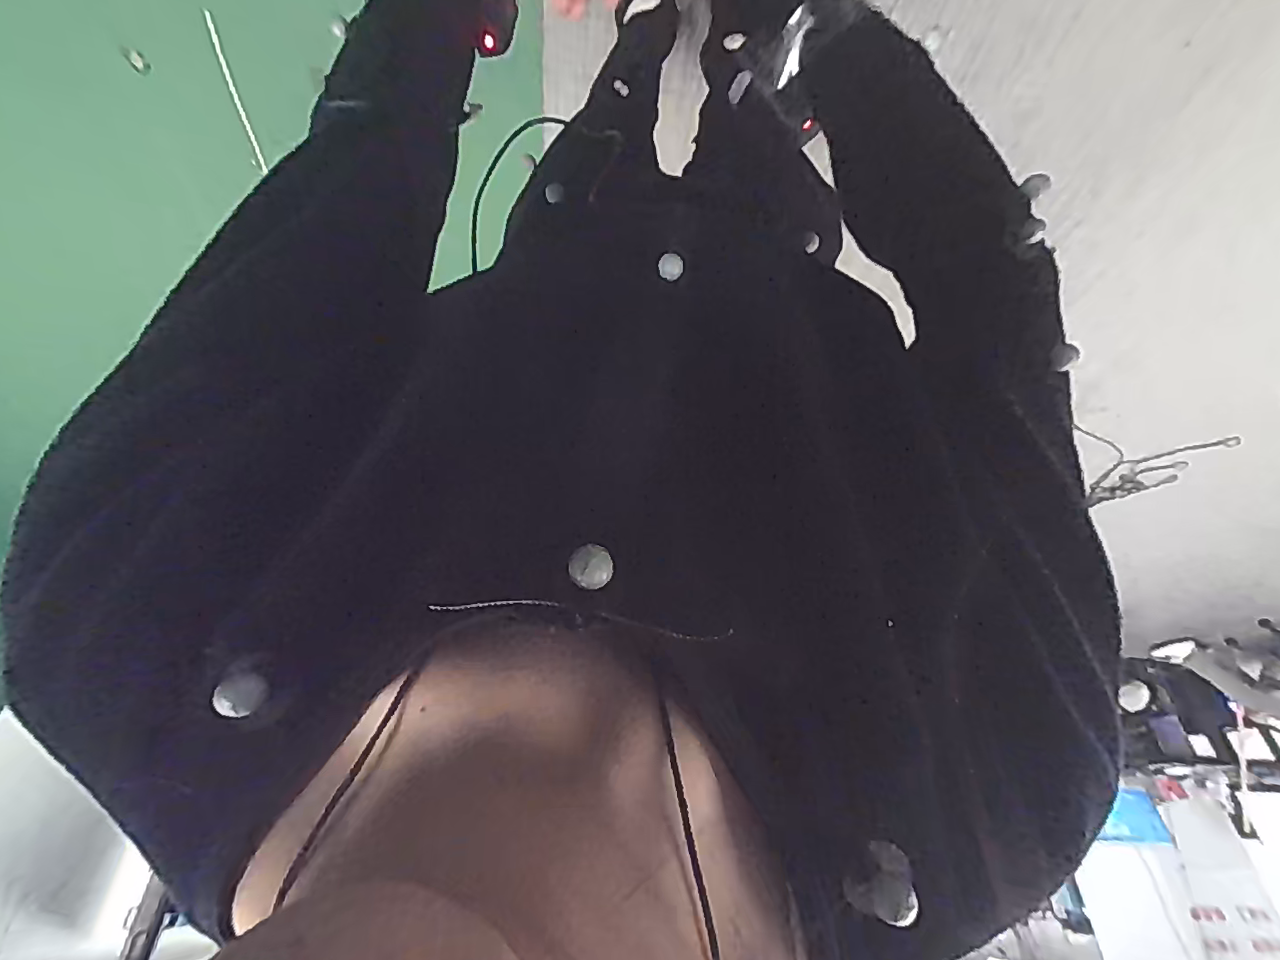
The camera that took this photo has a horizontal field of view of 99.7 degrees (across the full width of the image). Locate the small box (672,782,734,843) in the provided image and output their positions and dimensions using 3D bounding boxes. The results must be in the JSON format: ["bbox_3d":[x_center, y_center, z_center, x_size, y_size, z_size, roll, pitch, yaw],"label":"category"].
[{"bbox_3d":[0.214,1.161,1.890,0.179,0.176,0.168,8,144,-8],"label":"small box"}]

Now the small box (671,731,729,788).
[{"bbox_3d":[0.214,1.026,1.983,0.179,0.176,0.168,5,144,-7],"label":"small box"}]
